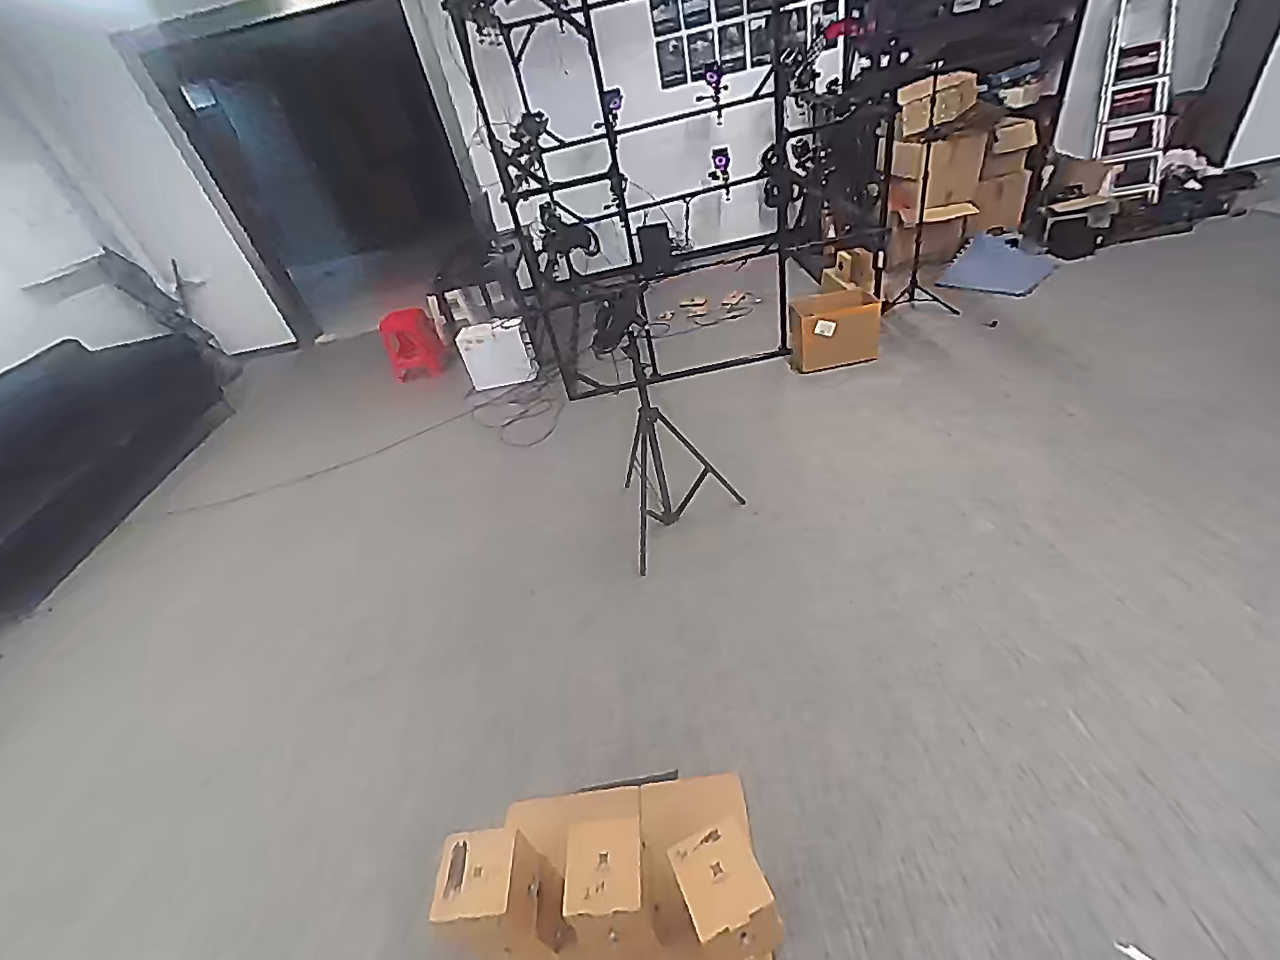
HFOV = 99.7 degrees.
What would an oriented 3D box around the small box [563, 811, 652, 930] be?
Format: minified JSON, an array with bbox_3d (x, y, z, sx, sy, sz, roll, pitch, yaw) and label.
[{"bbox_3d":[-0.066,0.879,1.217,0.168,0.176,0.179,-9,38,6],"label":"small box"}]

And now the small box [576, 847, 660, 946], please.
[{"bbox_3d":[-0.046,1.010,1.316,0.179,0.176,0.168,-9,38,6],"label":"small box"}]

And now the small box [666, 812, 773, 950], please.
[{"bbox_3d":[0.173,0.866,1.162,0.168,0.176,0.179,-21,39,-10],"label":"small box"}]

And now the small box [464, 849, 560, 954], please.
[{"bbox_3d":[-0.308,1.048,1.344,0.179,0.176,0.168,-11,37,5],"label":"small box"}]

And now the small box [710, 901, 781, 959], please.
[{"bbox_3d":[0.212,0.991,1.262,0.168,0.176,0.179,-23,38,-11],"label":"small box"}]
